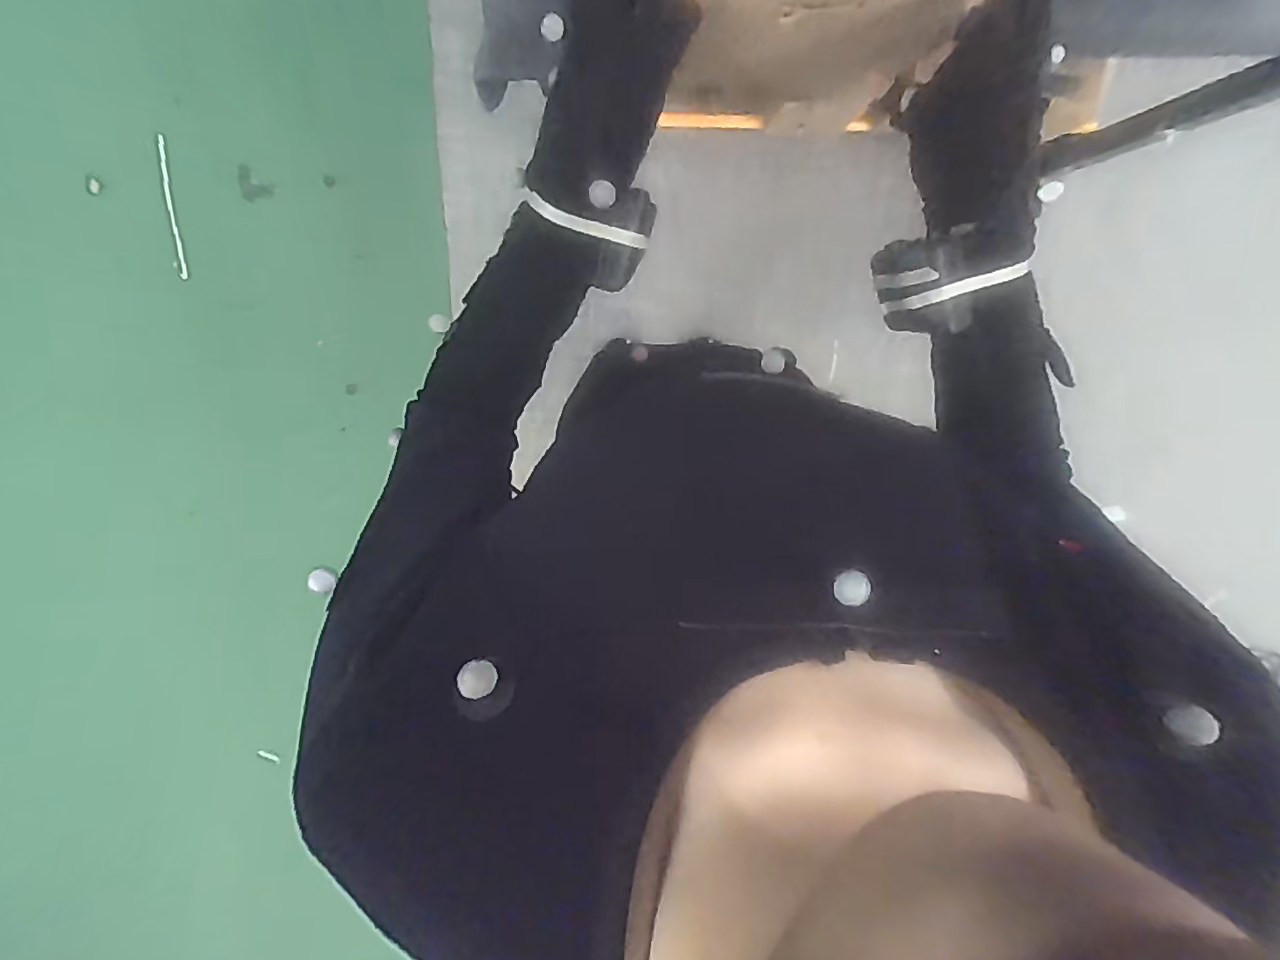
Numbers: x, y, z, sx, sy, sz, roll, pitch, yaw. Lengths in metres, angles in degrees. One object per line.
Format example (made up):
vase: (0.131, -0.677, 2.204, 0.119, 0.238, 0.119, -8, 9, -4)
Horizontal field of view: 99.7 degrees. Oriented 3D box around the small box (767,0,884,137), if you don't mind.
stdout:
small box: (0.359, -0.815, 1.080, 0.168, 0.176, 0.179, 2, 108, -1)
